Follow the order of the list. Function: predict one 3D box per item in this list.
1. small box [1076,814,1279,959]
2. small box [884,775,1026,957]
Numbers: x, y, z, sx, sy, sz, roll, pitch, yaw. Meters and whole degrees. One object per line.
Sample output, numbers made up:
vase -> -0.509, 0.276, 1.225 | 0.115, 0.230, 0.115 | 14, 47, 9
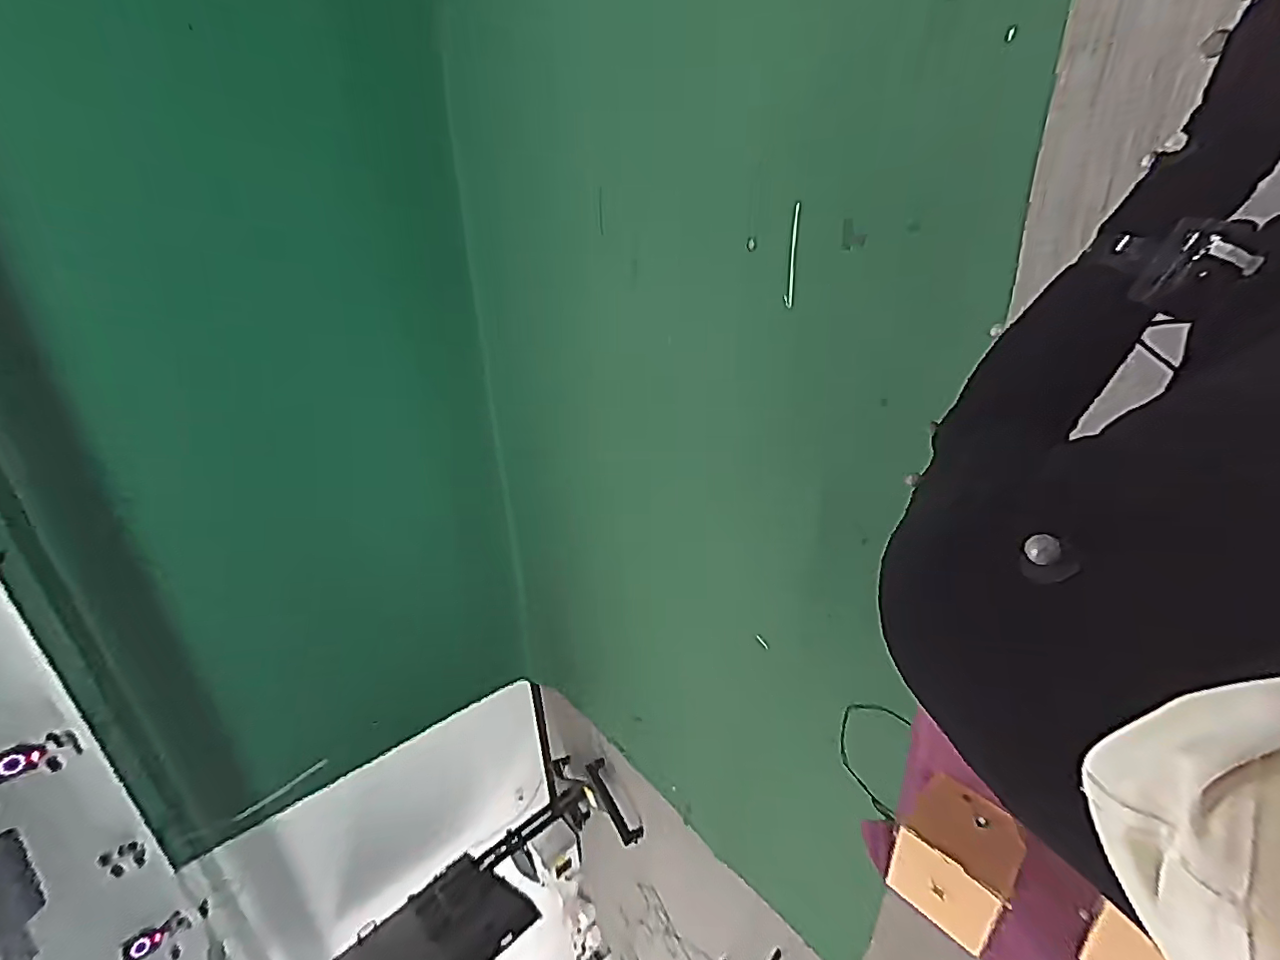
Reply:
small box -> 0.750, 0.624, 0.750 | 0.168, 0.176, 0.179 | 22, 124, 44
small box -> 0.582, 0.702, 1.002 | 0.168, 0.176, 0.179 | 23, 123, 44
